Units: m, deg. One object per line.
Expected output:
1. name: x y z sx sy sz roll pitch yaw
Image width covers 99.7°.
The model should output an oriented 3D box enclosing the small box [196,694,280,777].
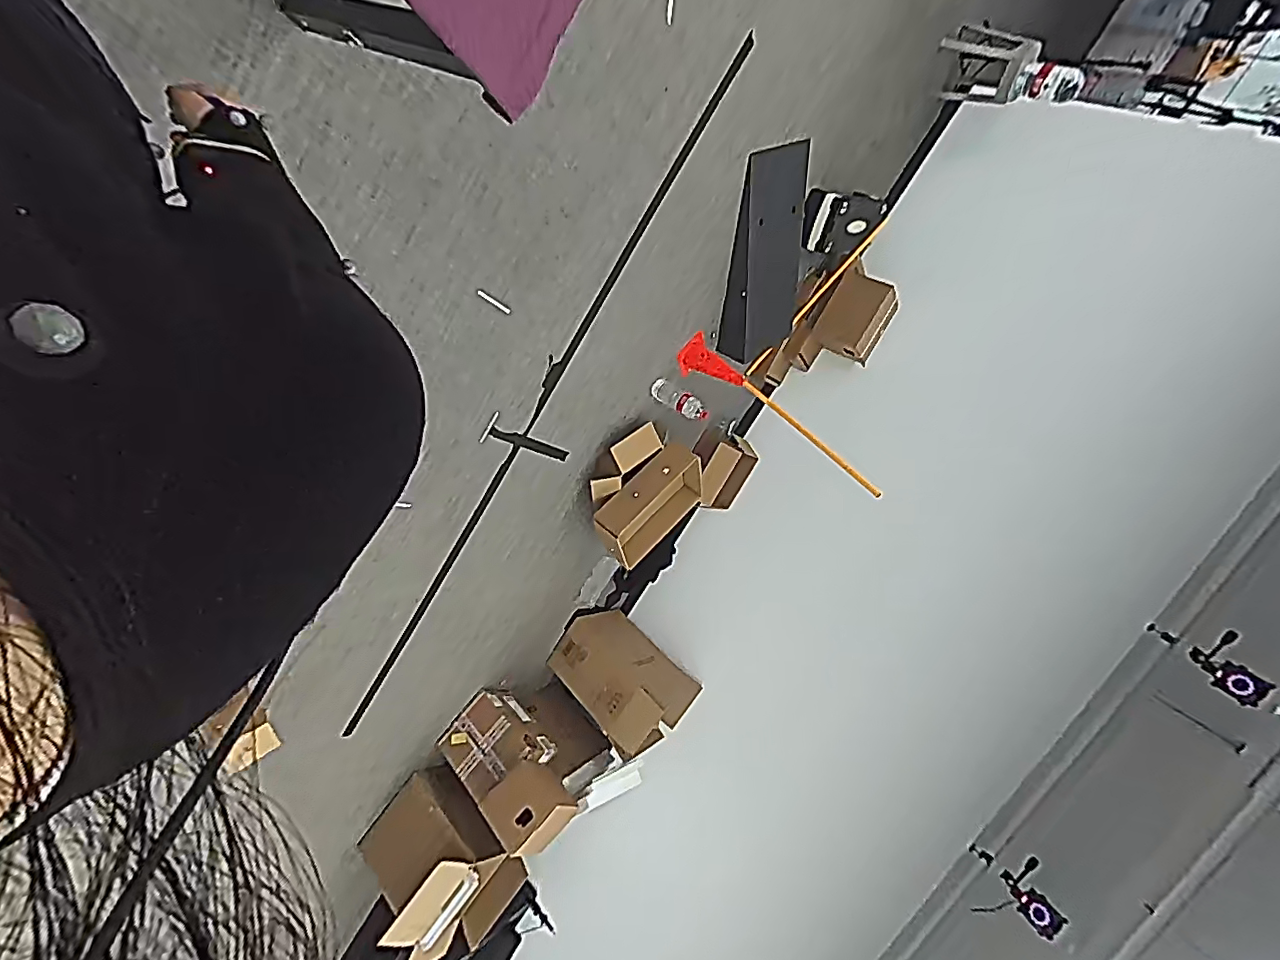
1. small box: -1.396 0.878 1.876 0.168 0.176 0.179 -29 144 -38
